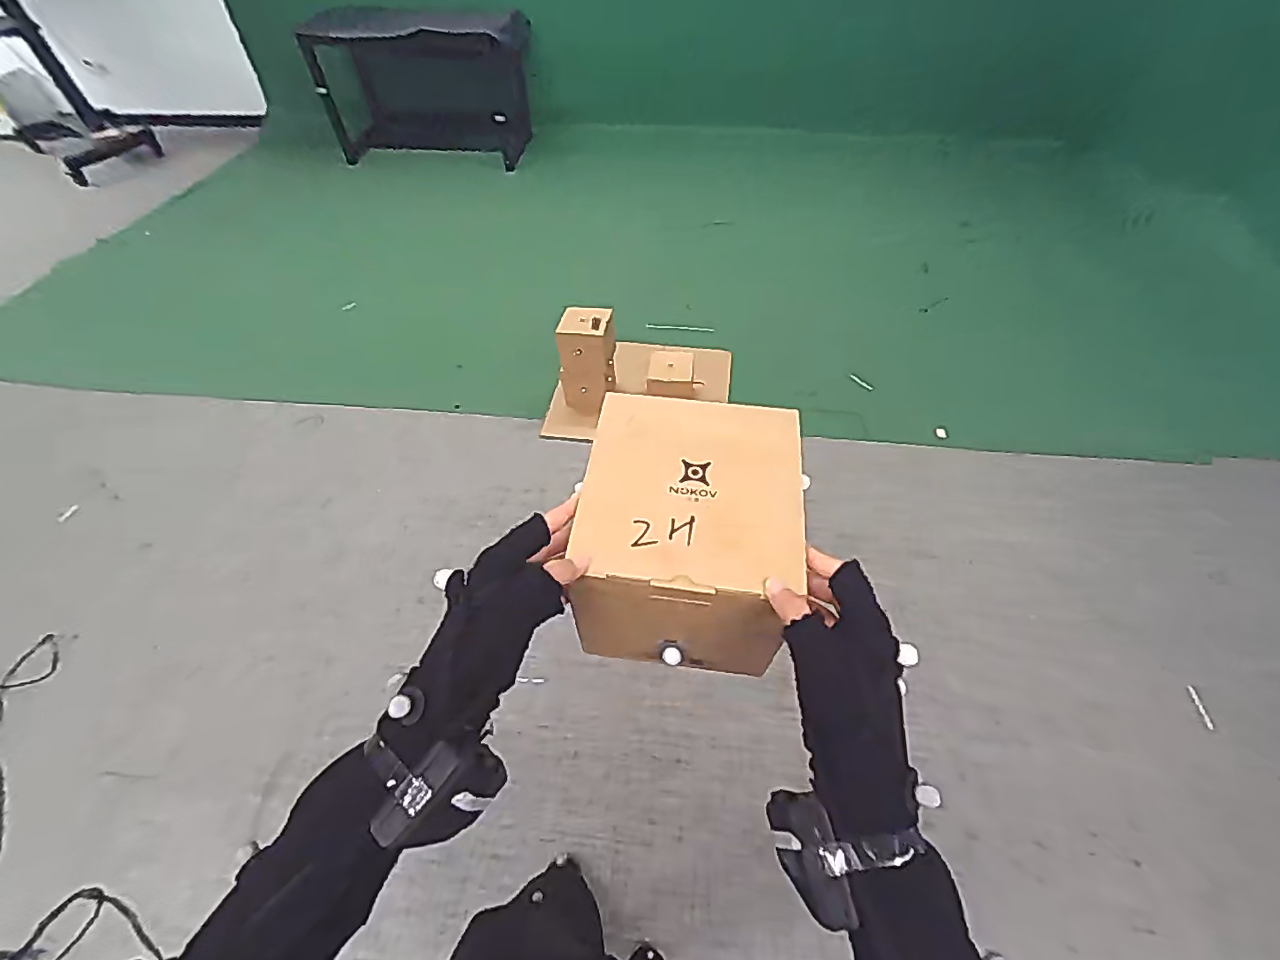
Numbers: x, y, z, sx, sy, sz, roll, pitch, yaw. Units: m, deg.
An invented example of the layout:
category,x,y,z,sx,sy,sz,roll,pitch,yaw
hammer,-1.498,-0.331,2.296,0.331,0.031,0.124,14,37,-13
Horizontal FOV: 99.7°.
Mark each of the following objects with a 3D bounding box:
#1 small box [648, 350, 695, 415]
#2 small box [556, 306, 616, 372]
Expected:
category,x,y,z,sx,sy,sz,roll,pitch,yaw
small box,0.119,-0.376,2.083,0.168,0.176,0.179,4,51,5
small box,-0.192,-0.518,1.992,0.179,0.176,0.168,7,51,10
